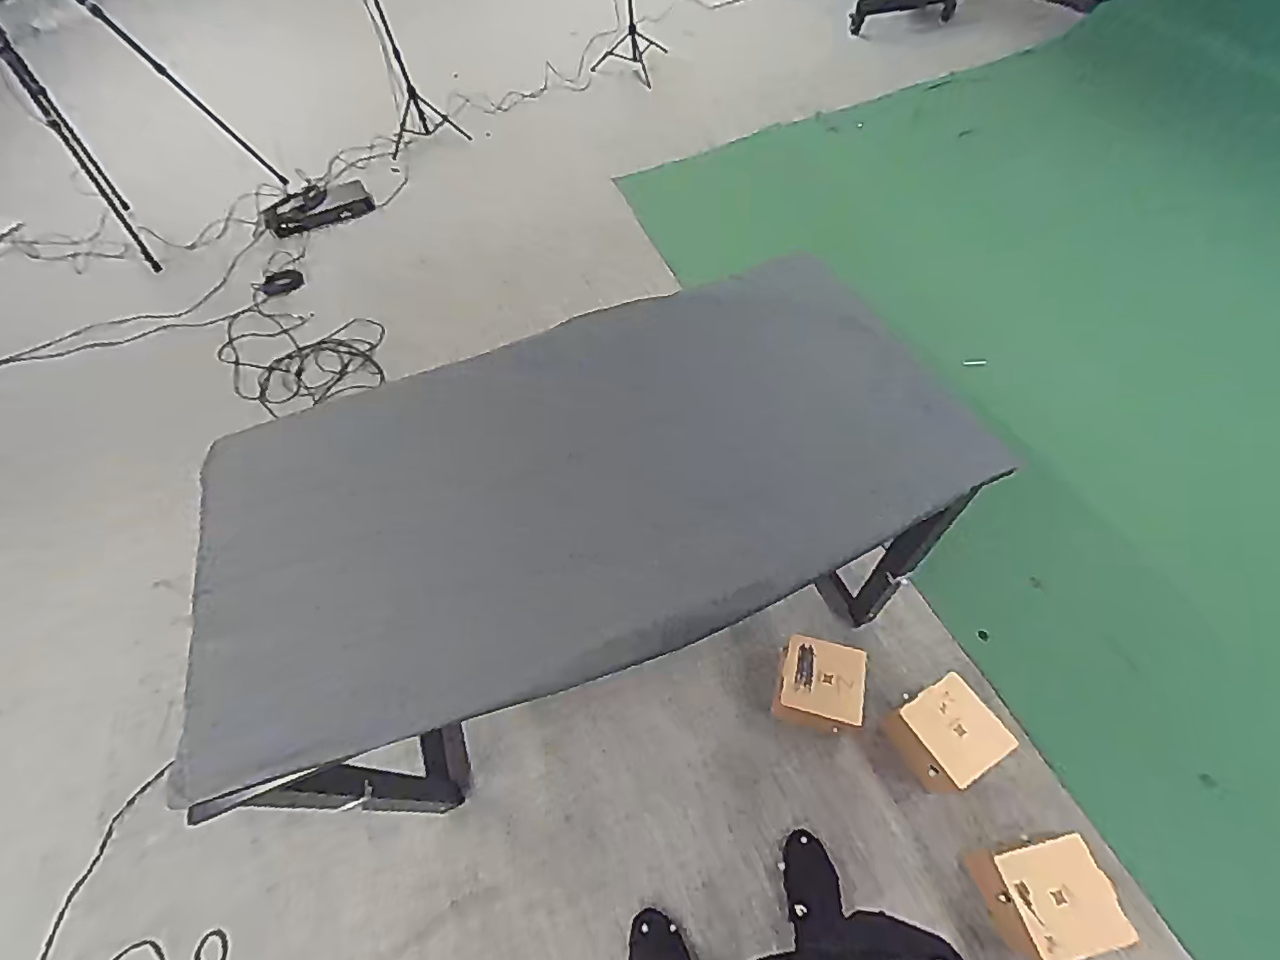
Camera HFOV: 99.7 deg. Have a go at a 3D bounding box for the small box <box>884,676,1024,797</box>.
[{"bbox_3d":[0.676,0.565,1.187,0.168,0.176,0.179,-28,58,-11],"label":"small box"}]

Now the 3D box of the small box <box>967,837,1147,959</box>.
[{"bbox_3d":[0.773,0.795,1.027,0.179,0.176,0.168,-14,58,-2],"label":"small box"}]
